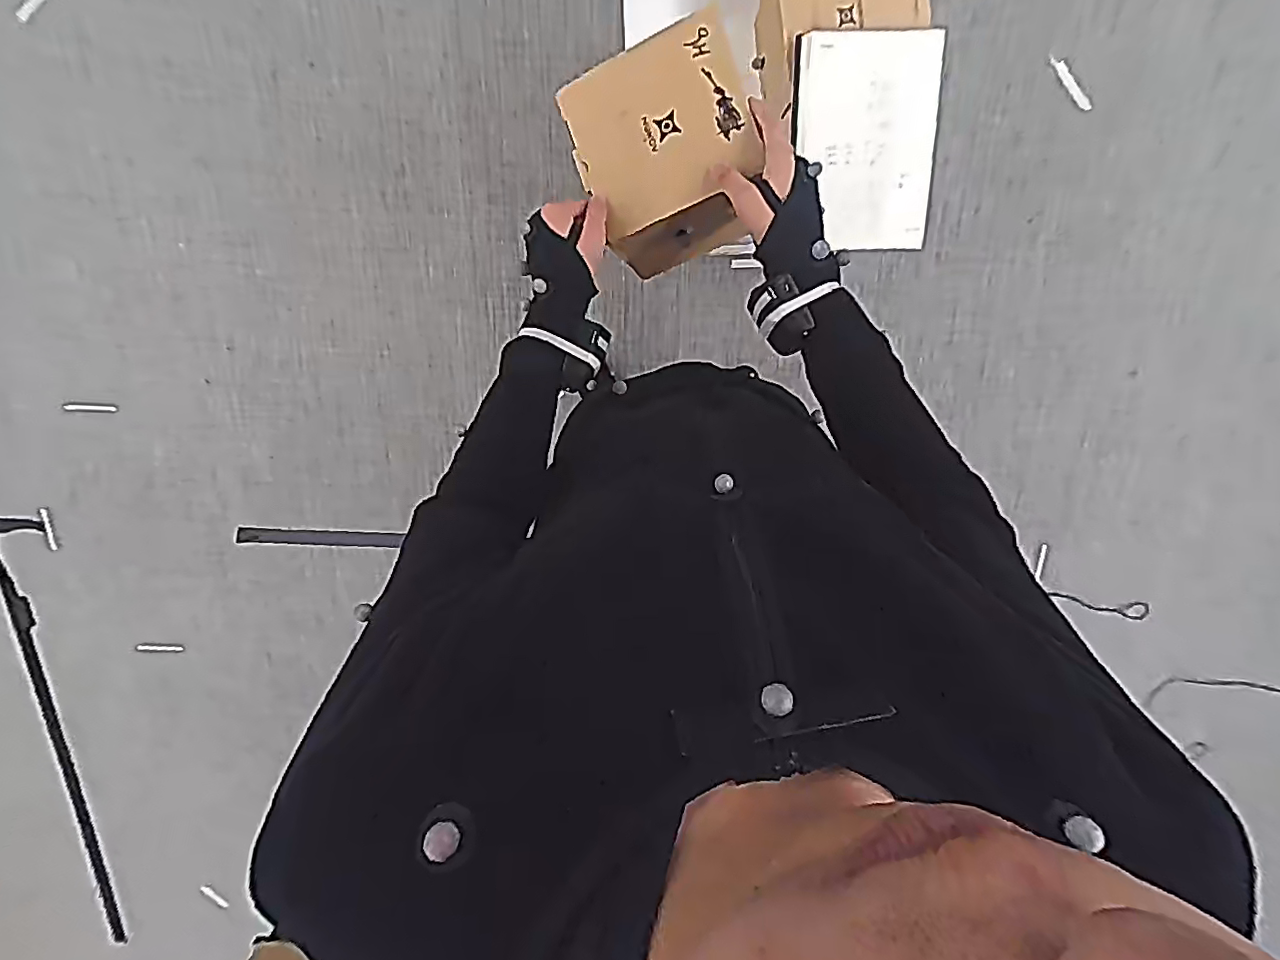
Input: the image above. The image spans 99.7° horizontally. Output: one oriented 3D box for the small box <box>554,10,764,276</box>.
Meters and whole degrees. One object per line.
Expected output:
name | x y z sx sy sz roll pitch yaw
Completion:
small box | 0.034 -0.355 0.615 0.179 0.176 0.168 -19 94 15
